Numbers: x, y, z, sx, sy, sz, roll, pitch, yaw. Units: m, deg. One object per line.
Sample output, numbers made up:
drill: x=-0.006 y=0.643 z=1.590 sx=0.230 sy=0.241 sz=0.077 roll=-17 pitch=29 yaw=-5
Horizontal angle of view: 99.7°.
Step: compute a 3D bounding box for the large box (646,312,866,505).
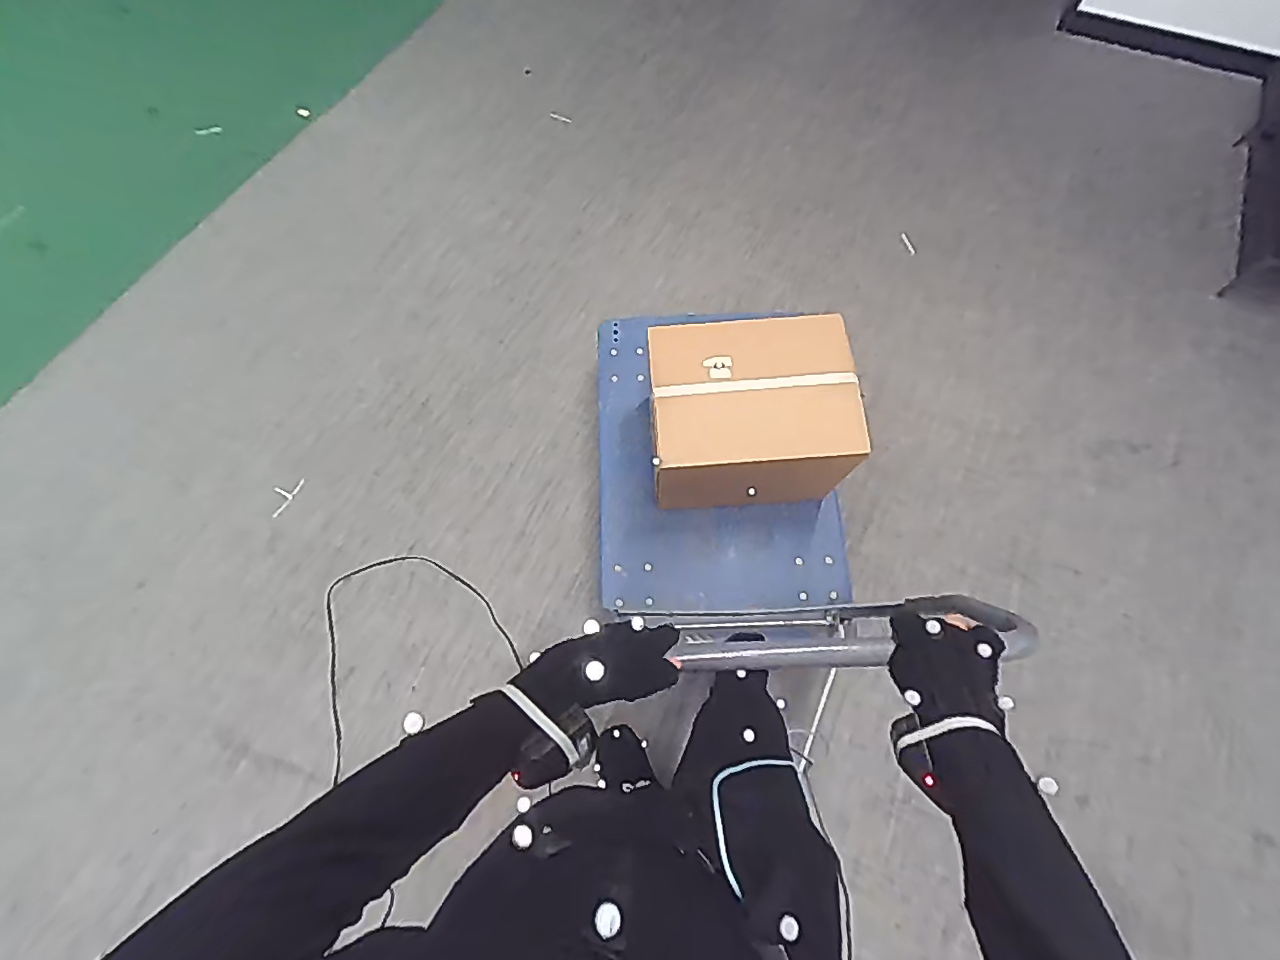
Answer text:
large box: x=0.233 y=-0.141 z=1.224 sx=0.408 sy=0.320 sz=0.320 roll=-6 pitch=72 yaw=1
